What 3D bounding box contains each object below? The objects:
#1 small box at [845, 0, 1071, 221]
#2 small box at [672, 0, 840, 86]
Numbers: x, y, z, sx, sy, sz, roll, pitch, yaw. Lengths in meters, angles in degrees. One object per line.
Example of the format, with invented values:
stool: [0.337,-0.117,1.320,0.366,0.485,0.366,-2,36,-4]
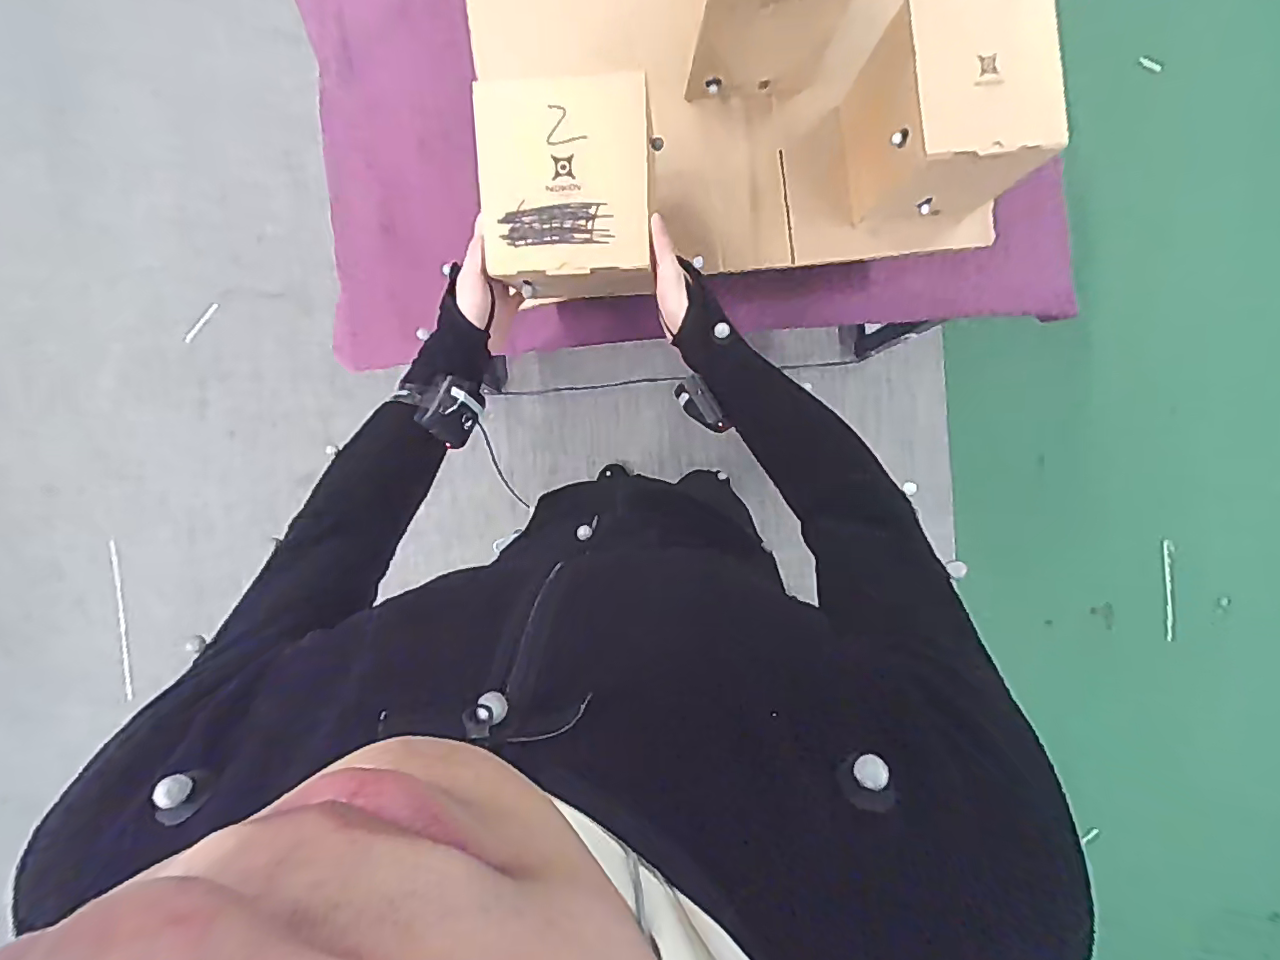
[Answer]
small box: [0.363,-0.440,0.649,0.168,0.176,0.179,-8,93,-4]
small box: [0.132,-0.595,0.626,0.168,0.176,0.179,-8,91,-5]
